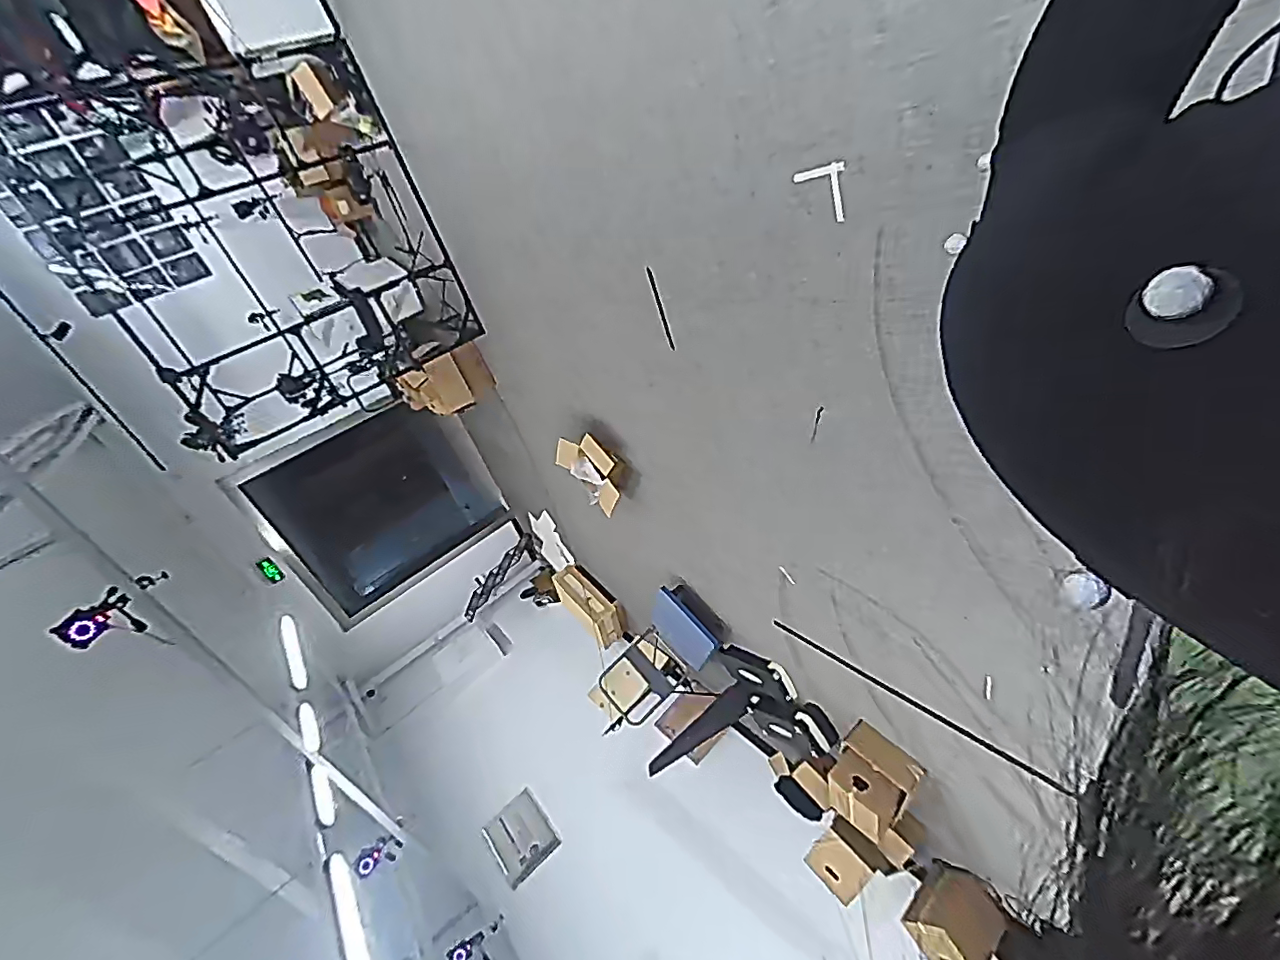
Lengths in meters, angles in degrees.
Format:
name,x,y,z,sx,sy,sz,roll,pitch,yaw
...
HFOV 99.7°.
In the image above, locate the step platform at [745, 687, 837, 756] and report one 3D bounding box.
name,x,y,z,sx,sy,sz,roll,pitch,yaw
step platform,1.029,1.677,3.772,0.286,0.204,0.684,56,155,-4
